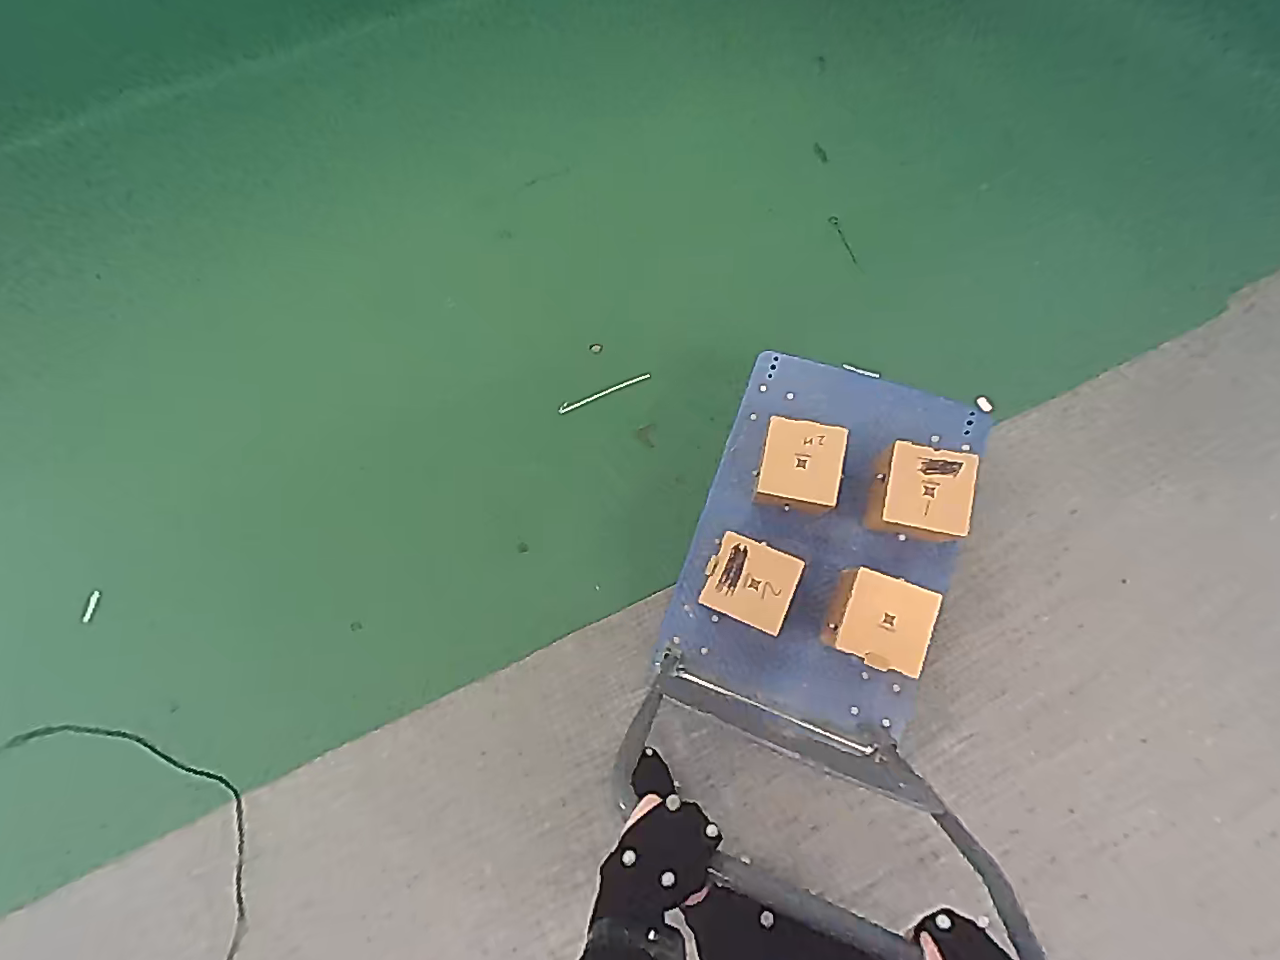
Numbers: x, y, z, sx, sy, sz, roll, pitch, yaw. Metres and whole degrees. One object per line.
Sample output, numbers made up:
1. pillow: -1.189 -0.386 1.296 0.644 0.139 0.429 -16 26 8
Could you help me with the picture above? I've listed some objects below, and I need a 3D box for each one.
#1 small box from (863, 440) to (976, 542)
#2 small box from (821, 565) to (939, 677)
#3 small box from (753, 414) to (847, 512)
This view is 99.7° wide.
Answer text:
1. small box: 0.606 0.029 1.192 0.168 0.176 0.179 13 82 10
2. small box: 0.502 0.293 1.156 0.168 0.176 0.179 20 83 11
3. small box: 0.358 -0.031 1.237 0.168 0.176 0.179 12 81 9
